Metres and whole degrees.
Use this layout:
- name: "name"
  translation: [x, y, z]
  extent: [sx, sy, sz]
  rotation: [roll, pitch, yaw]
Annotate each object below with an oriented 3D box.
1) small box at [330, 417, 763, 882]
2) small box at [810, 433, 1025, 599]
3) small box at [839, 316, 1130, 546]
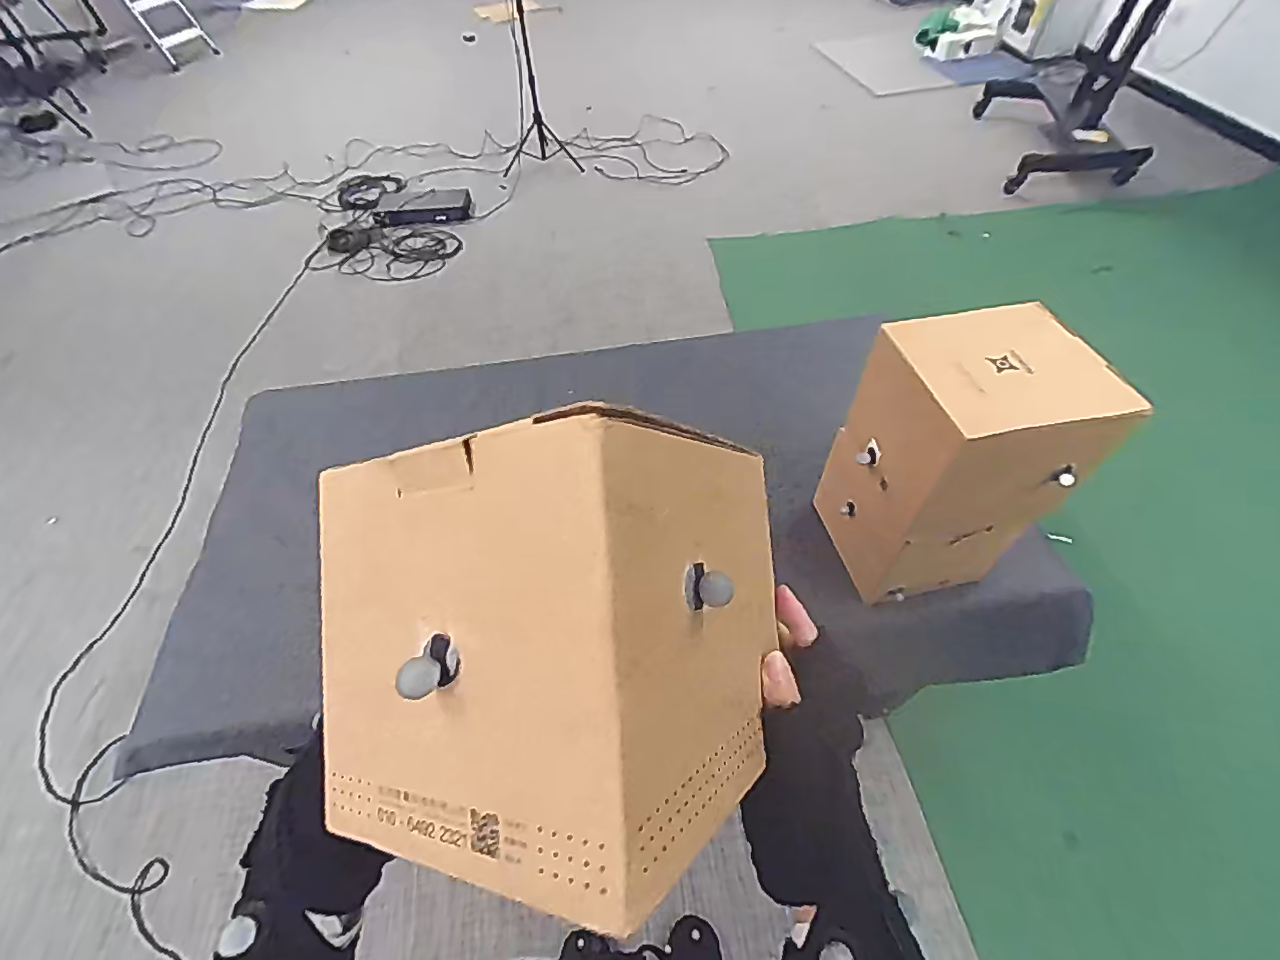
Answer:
- name: "small box"
  translation: [-0.037, 0.073, 0.297]
  extent: [0.168, 0.179, 0.176]
  rotation: [-7, 83, 29]
- name: "small box"
  translation: [0.348, 0.042, 0.719]
  extent: [0.168, 0.176, 0.179]
  rotation: [-11, 52, -6]
- name: "small box"
  translation: [0.344, -0.049, 0.585]
  extent: [0.179, 0.176, 0.168]
  rotation: [-10, 51, -4]
